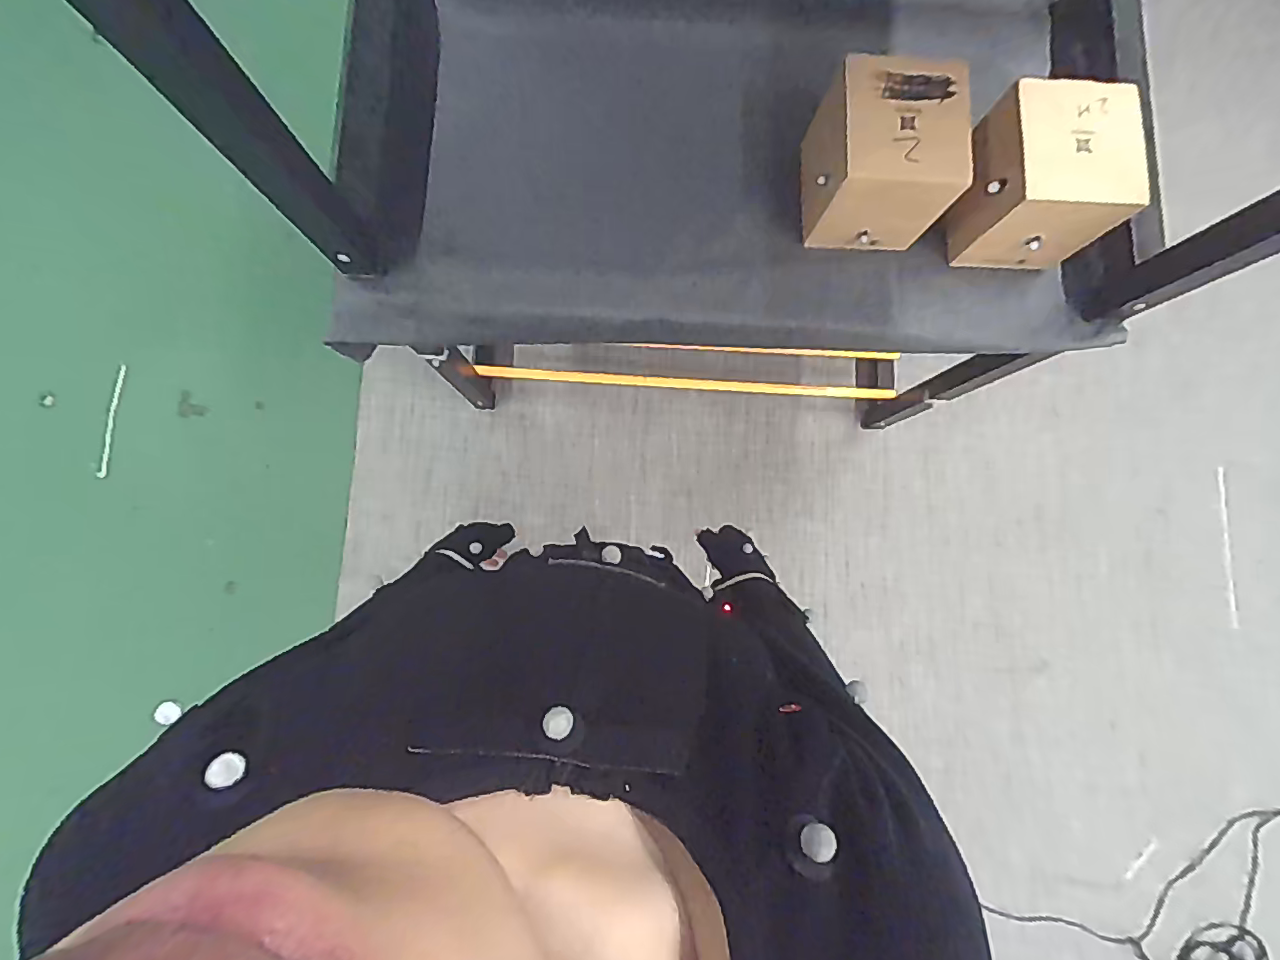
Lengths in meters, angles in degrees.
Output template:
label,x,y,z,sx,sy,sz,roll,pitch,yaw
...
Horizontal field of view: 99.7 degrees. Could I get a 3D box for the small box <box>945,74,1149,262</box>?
label,x,y,z,sx,sy,sz,roll,pitch,yaw
small box,0.570,-0.436,0.781,0.168,0.176,0.179,1,83,-2
